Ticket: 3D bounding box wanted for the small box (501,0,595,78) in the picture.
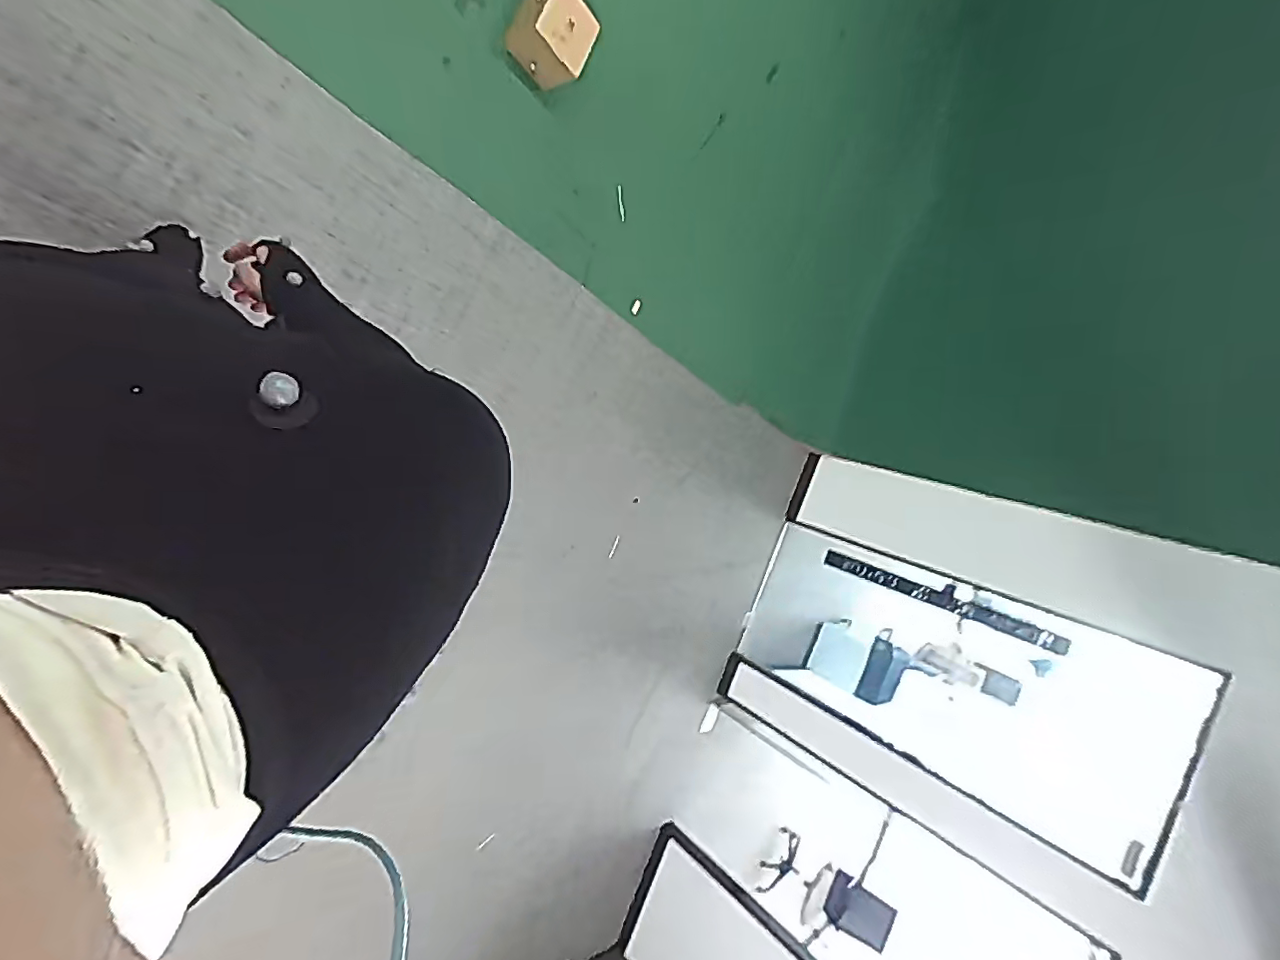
[{"bbox_3d":[-0.267,-1.304,1.544,0.168,0.176,0.179,25,87,-48],"label":"small box"}]
